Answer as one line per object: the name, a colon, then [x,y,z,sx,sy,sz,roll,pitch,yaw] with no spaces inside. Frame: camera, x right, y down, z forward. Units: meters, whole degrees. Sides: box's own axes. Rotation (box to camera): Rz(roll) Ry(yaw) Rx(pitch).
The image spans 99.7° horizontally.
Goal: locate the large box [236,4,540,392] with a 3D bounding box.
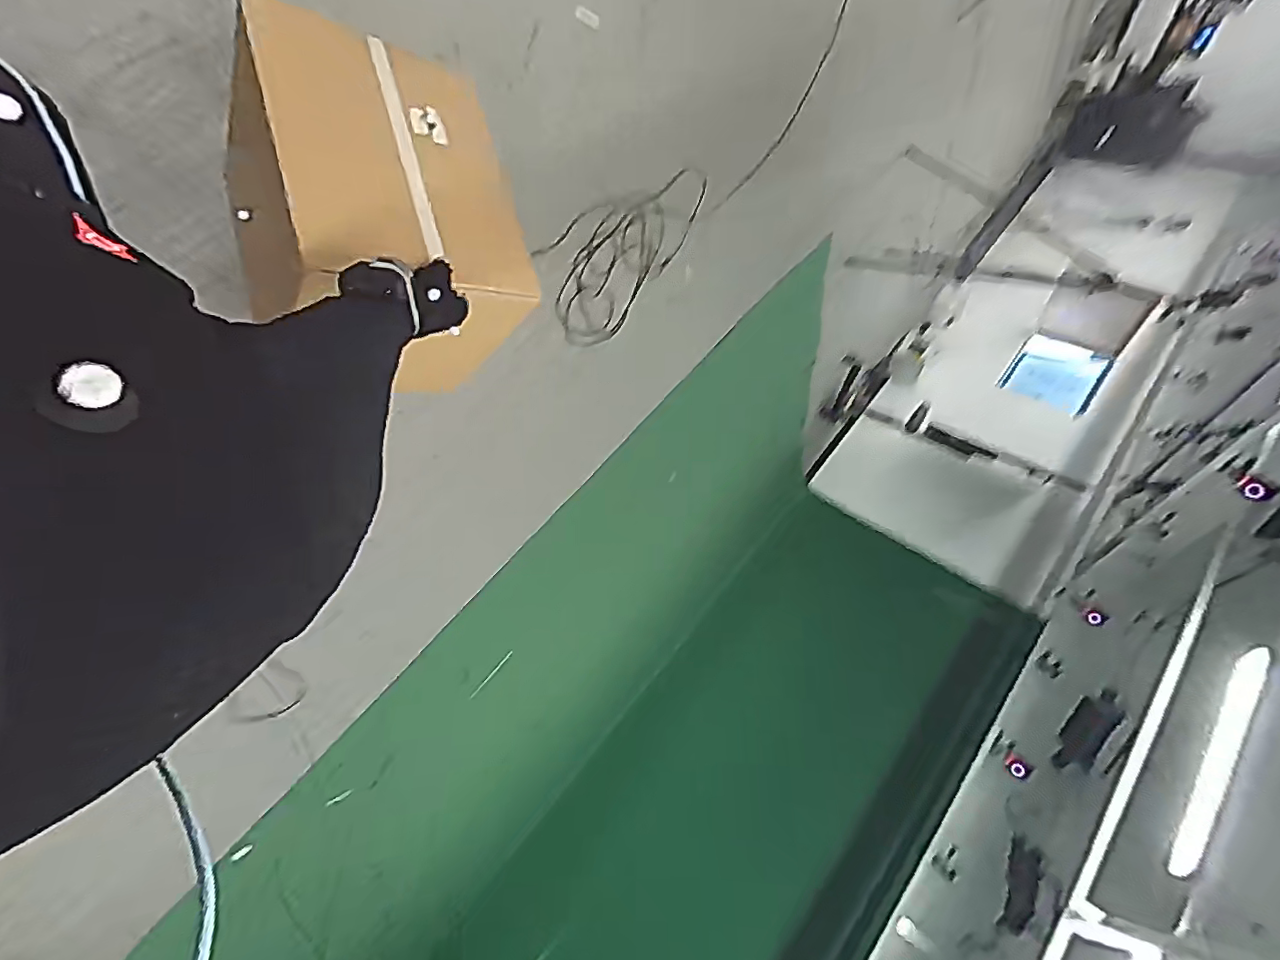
large box: [-0.412,-0.388,0.859,0.320,0.408,0.320,-9,167,-43]
